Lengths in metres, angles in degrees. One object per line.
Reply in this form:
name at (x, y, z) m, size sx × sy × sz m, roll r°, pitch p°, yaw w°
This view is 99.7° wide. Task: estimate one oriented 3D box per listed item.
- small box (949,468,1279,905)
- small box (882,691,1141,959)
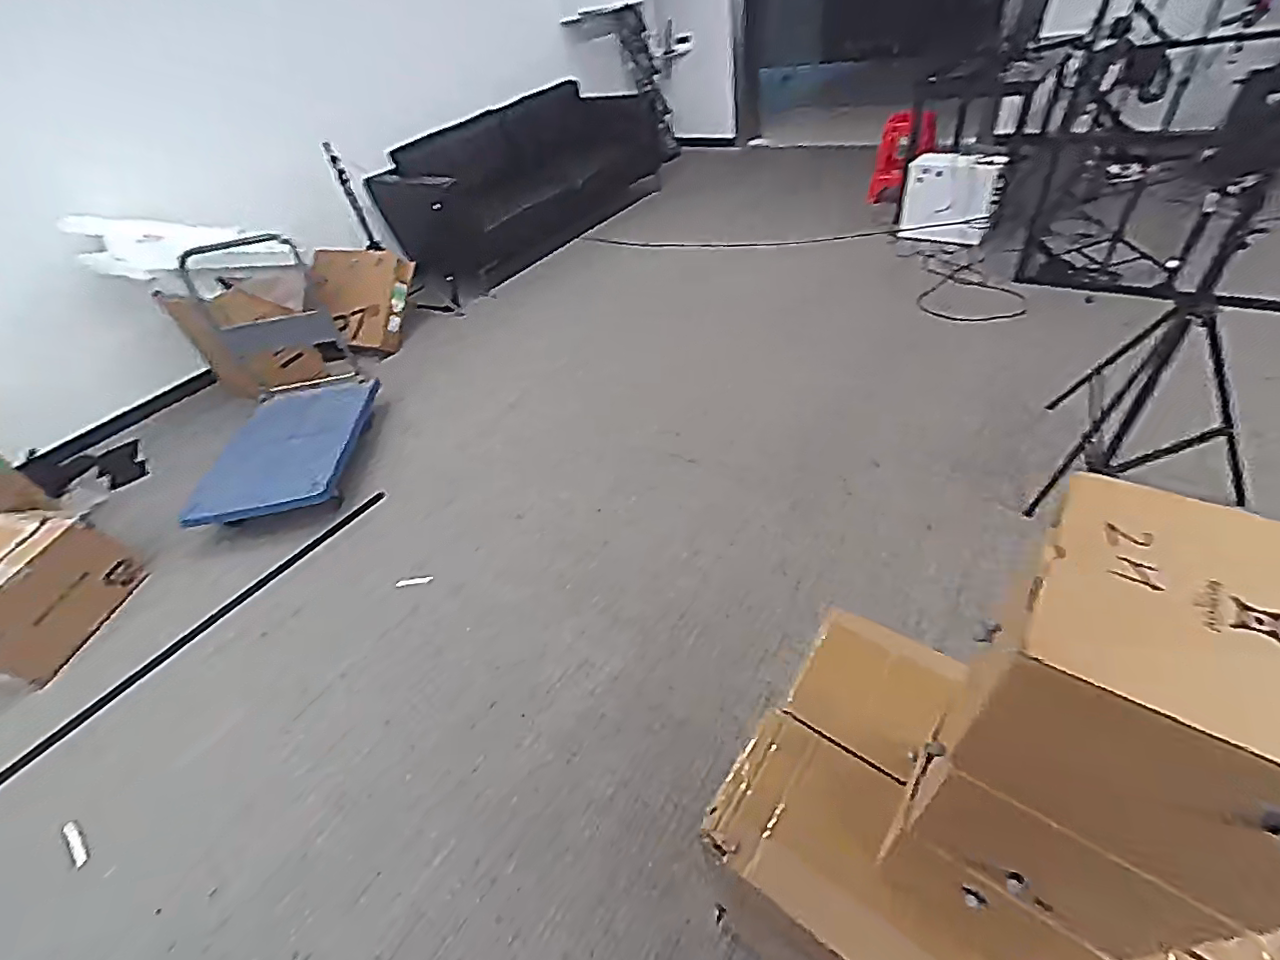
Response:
small box at (0.331, 0.127, 0.345) m, size 0.179 × 0.176 × 0.168 m, roll 23°, pitch 53°, yaw 32°
small box at (0.376, 0.367, 0.566) m, size 0.179 × 0.176 × 0.168 m, roll 23°, pitch 53°, yaw 31°
